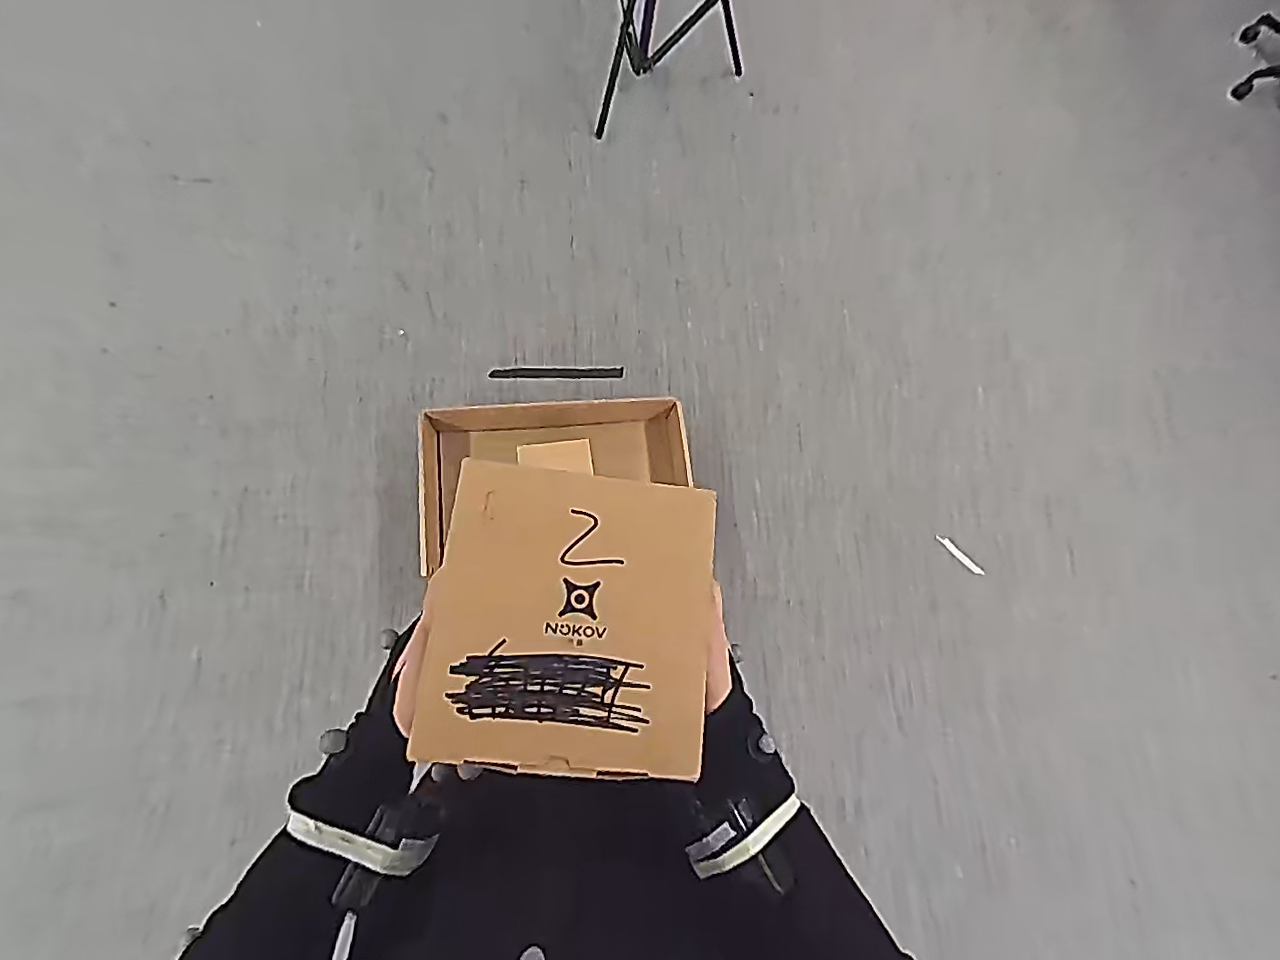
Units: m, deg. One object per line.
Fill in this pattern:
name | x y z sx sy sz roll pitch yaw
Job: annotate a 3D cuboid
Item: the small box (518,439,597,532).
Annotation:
small box | -0.199 0.017 1.288 0.168 0.176 0.179 -6 77 -10
